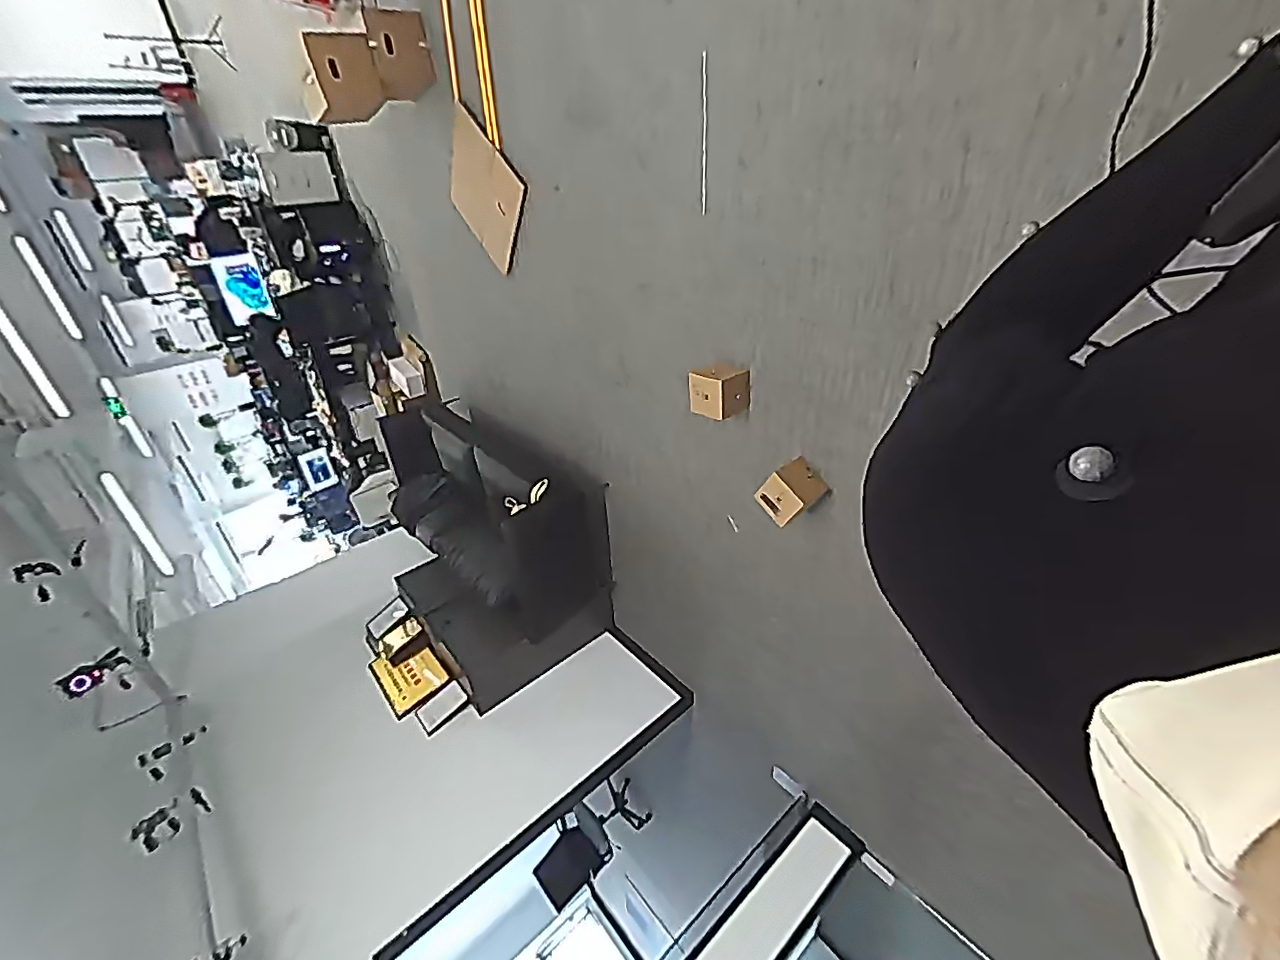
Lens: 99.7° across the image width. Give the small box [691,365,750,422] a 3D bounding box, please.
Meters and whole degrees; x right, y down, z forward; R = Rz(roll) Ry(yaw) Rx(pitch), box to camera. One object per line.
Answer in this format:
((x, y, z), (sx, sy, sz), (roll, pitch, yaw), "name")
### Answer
((0.325, -0.353, 2.170), (0.179, 0.176, 0.168), (26, 131, 44), "small box")
